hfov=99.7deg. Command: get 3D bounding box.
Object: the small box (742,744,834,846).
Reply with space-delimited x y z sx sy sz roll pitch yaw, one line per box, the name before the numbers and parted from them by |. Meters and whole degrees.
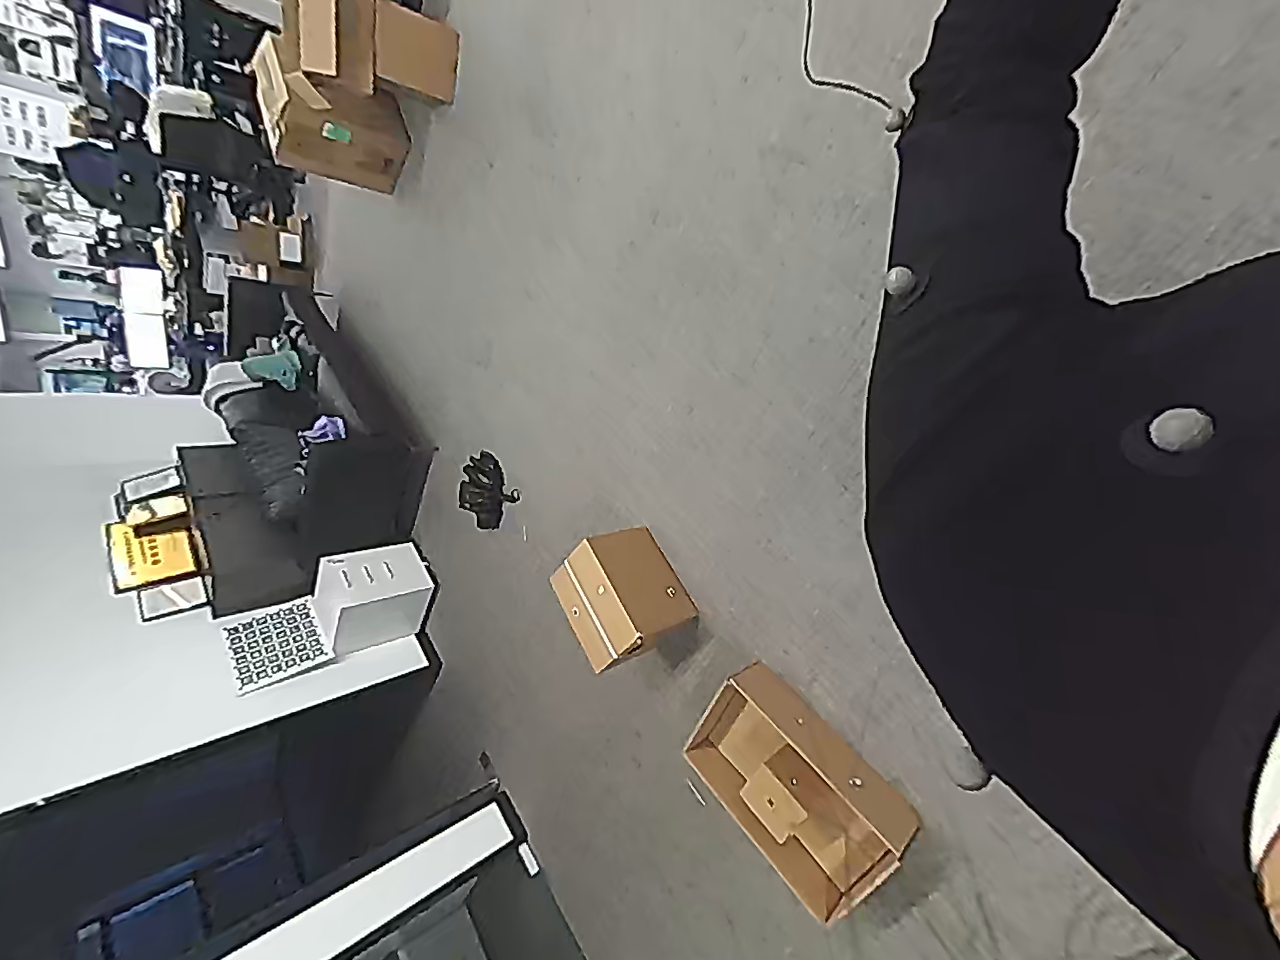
small box | 0.449 0.943 1.634 0.179 0.176 0.168 43 123 34
